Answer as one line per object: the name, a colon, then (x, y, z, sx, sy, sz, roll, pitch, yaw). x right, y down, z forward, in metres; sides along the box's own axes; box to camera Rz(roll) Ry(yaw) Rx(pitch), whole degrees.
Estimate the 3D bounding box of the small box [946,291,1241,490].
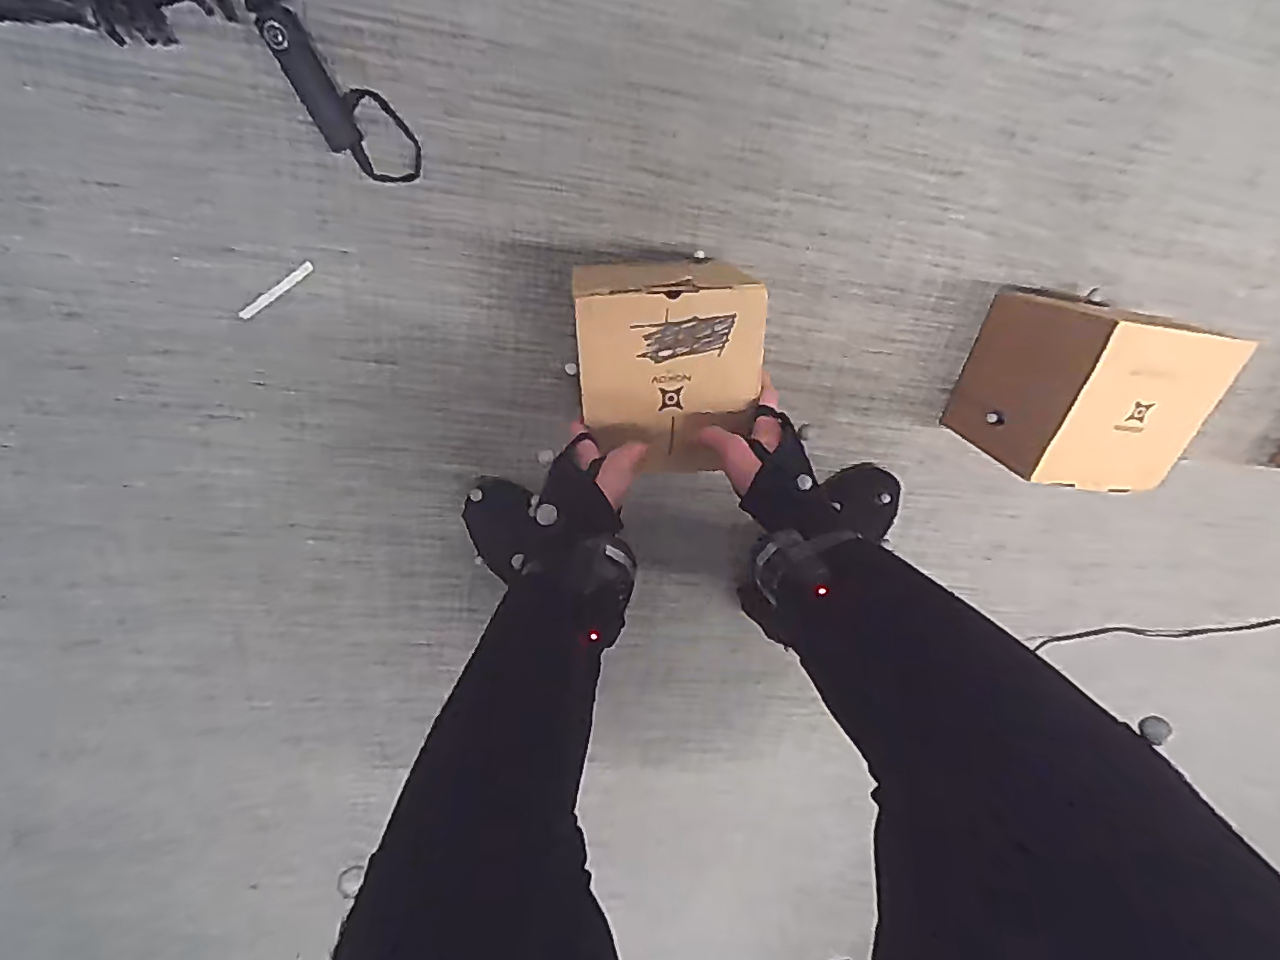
small box: (0.500, -0.109, 0.634, 0.168, 0.176, 0.179, 4, 117, -10)
